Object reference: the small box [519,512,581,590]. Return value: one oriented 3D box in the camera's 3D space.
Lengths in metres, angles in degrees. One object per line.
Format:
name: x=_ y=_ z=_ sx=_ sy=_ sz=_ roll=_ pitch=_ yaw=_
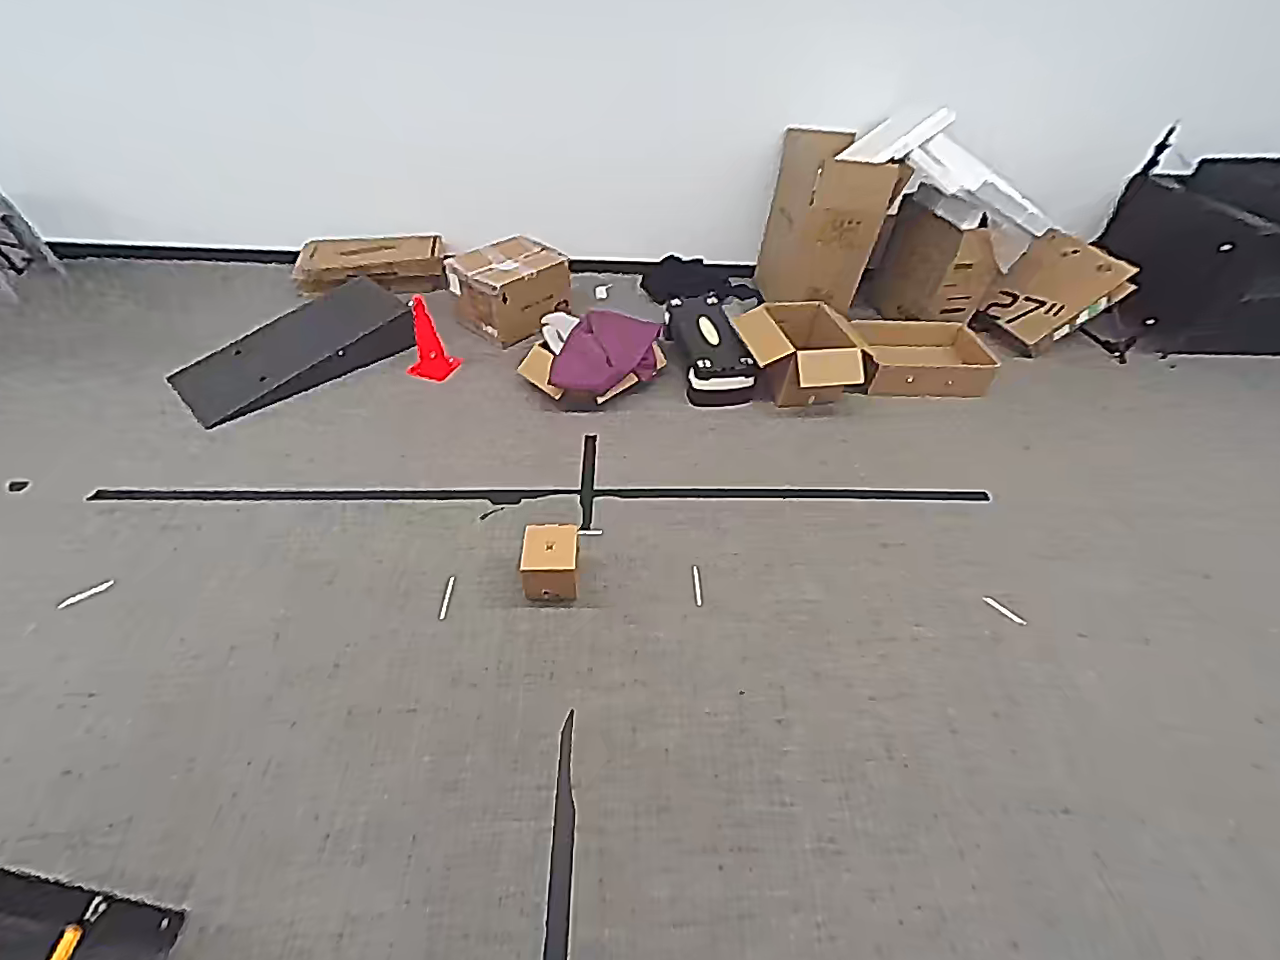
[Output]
small box: x=-0.268 y=0.215 z=1.643 sx=0.168 sy=0.176 sz=0.179 roll=-1 pitch=47 yaw=-4
